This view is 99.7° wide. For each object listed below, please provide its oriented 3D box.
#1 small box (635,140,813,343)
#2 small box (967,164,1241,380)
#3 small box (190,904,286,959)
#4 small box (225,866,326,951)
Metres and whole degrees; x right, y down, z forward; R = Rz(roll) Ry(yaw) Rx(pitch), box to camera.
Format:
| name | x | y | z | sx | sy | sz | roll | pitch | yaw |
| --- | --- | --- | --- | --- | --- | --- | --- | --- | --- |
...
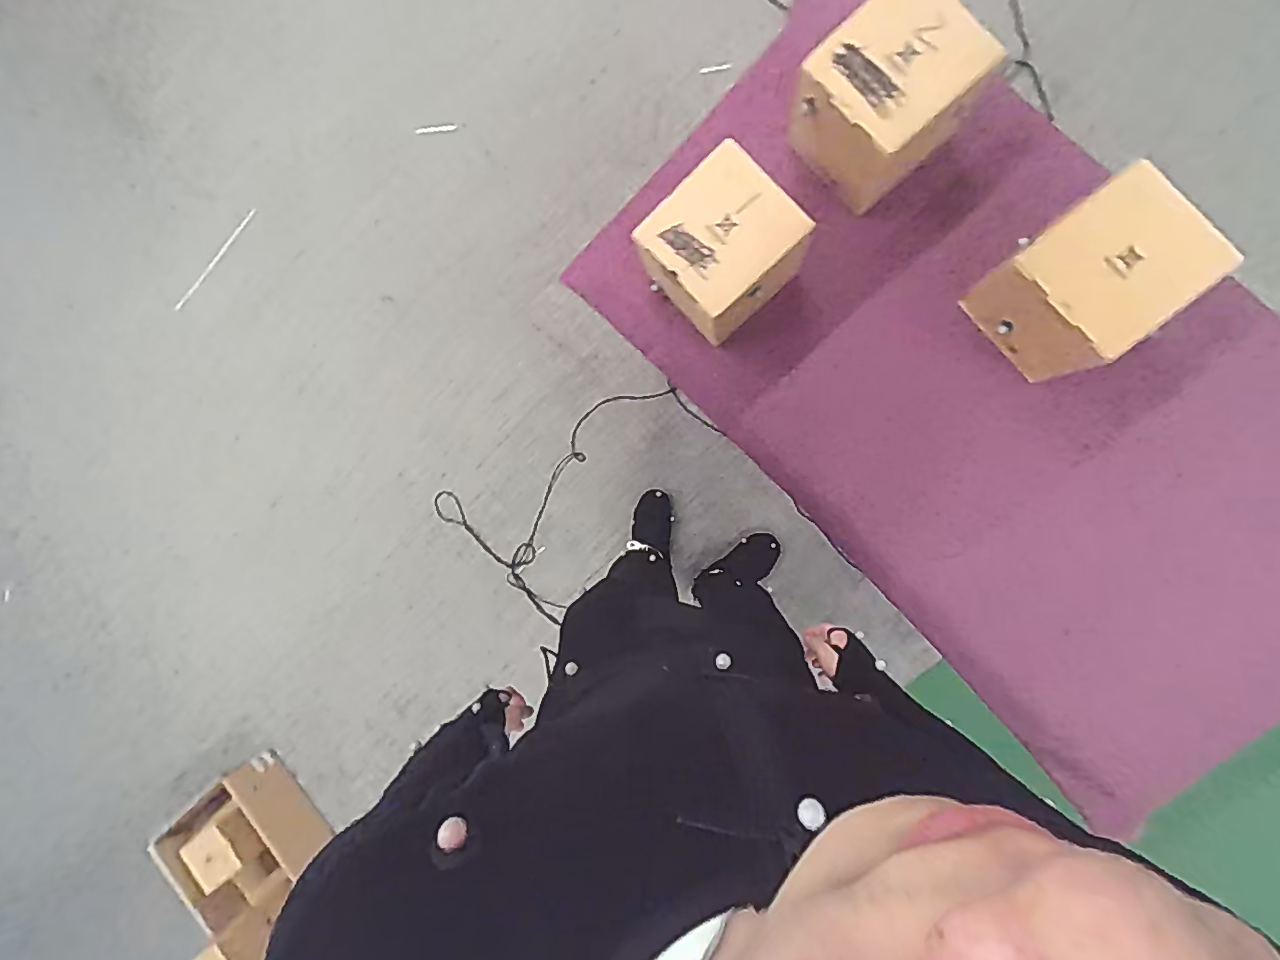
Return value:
| name | x | y | z | sx | sy | sz | roll | pitch | yaw |
| --- | --- | --- | --- | --- | --- | --- | --- | --- | --- |
| small box | 0.120 | -0.326 | 0.782 | 0.179 | 0.176 | 0.168 | -42 | 85 | 7 |
| small box | 0.582 | -0.255 | 0.710 | 0.179 | 0.176 | 0.168 | -41 | 86 | 9 |
| small box | -1.188 | 1.402 | 1.572 | 0.179 | 0.176 | 0.168 | -40 | 85 | 8 |
| small box | -1.162 | 1.400 | 1.733 | 0.179 | 0.176 | 0.168 | -39 | 85 | 9 |
